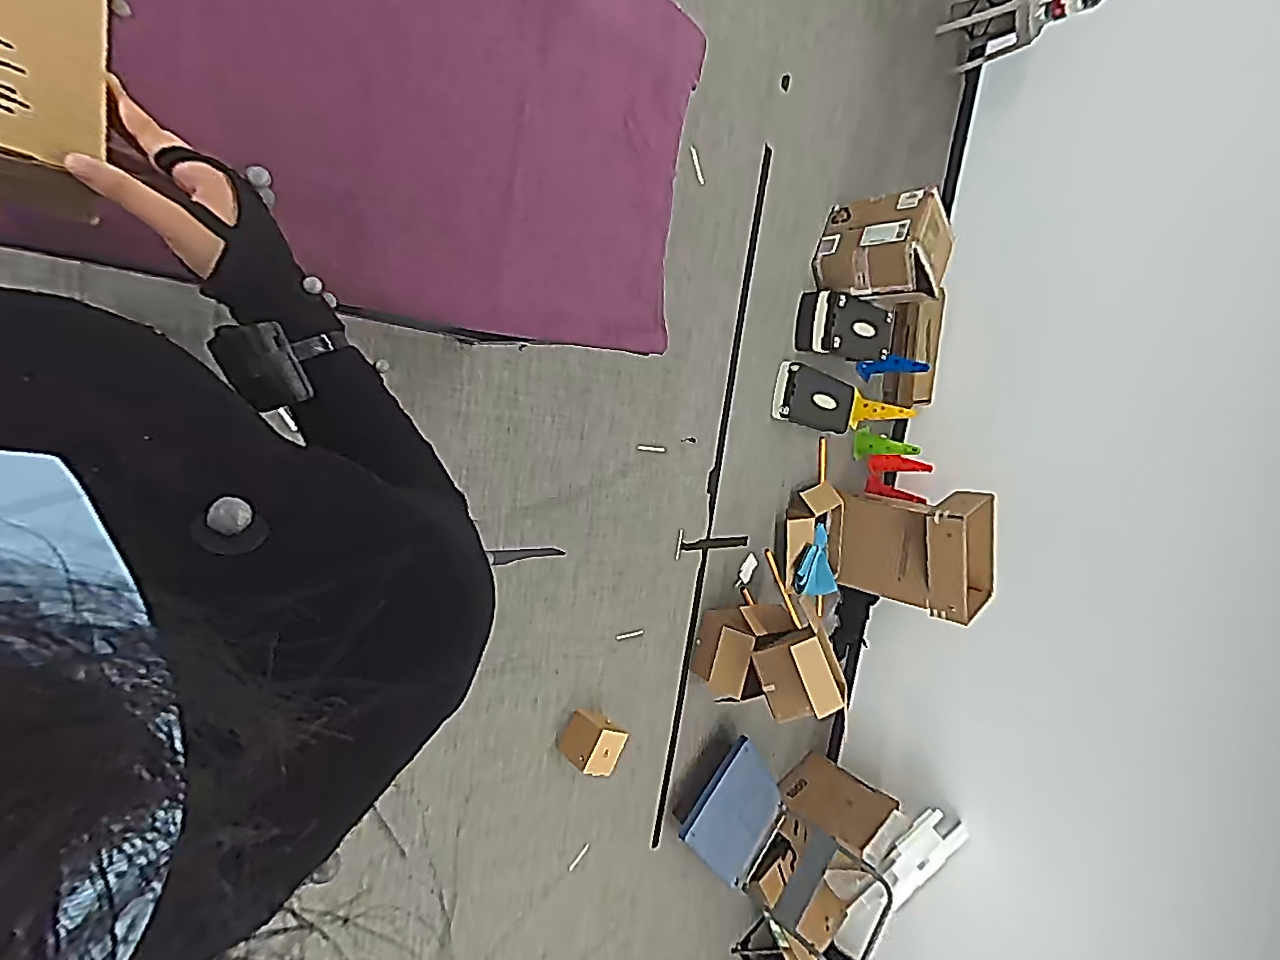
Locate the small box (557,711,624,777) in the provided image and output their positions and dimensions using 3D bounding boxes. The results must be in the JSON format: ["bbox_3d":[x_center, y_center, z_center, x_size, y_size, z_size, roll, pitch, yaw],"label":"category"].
[{"bbox_3d":[-0.200,1.041,2.141,0.168,0.176,0.179,37,75,-44],"label":"small box"}]
